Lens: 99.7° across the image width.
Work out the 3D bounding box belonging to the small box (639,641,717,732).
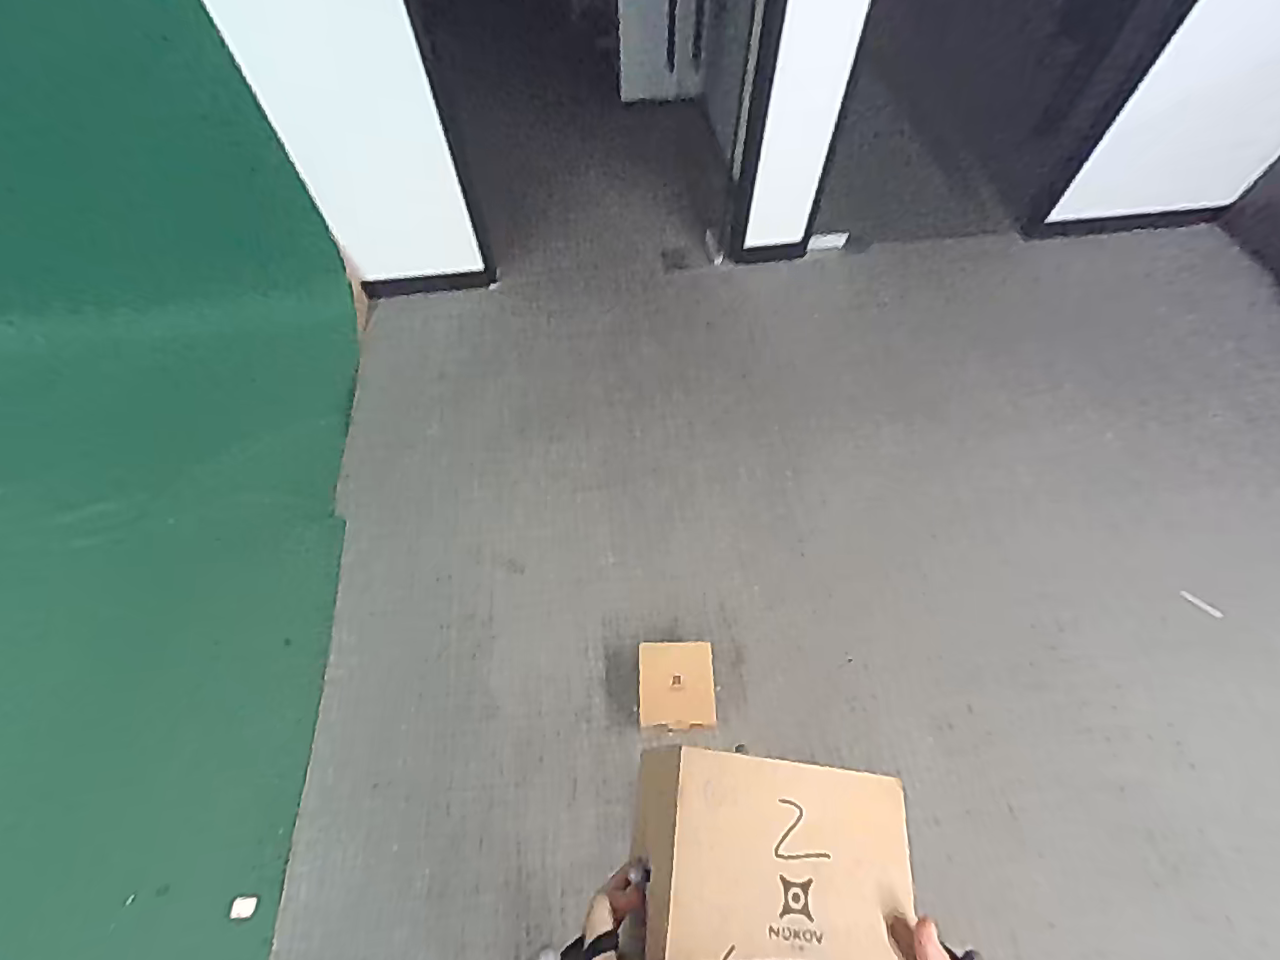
[{"bbox_3d":[0.082,0.486,1.265,0.168,0.176,0.179,0,60,0],"label":"small box"}]
